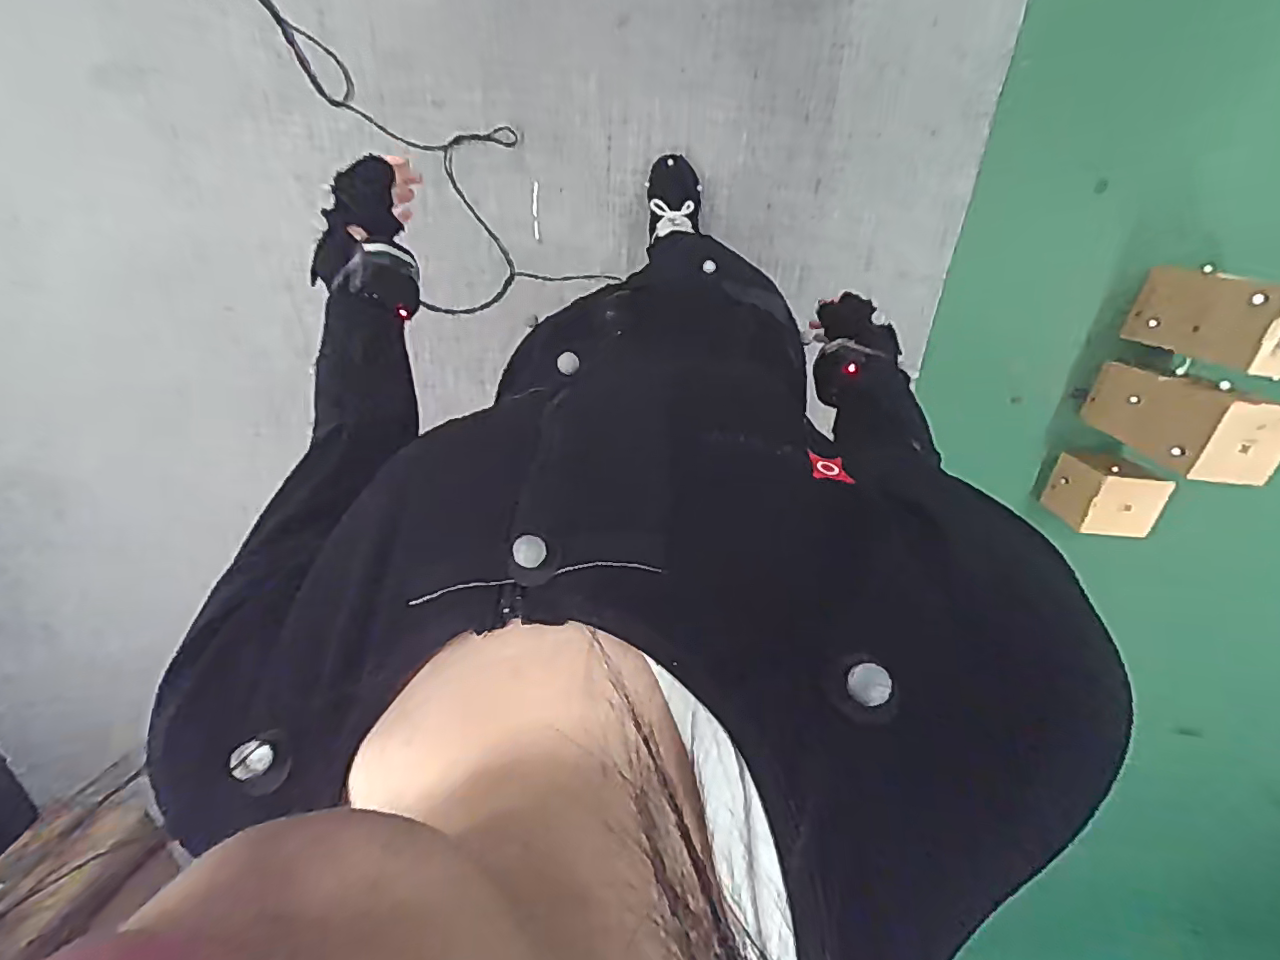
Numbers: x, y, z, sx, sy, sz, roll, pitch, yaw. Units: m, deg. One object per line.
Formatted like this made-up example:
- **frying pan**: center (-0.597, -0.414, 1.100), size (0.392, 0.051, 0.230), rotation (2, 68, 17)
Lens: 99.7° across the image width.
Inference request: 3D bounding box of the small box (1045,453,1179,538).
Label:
- **small box**: center (1.242, 0.037, 1.439), size (0.179, 0.176, 0.168), rotation (4, 116, 1)

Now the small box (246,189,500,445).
- **small box**: center (-0.268, -0.171, 0.570), size (0.176, 0.179, 0.168), rotation (-44, 123, 14)
